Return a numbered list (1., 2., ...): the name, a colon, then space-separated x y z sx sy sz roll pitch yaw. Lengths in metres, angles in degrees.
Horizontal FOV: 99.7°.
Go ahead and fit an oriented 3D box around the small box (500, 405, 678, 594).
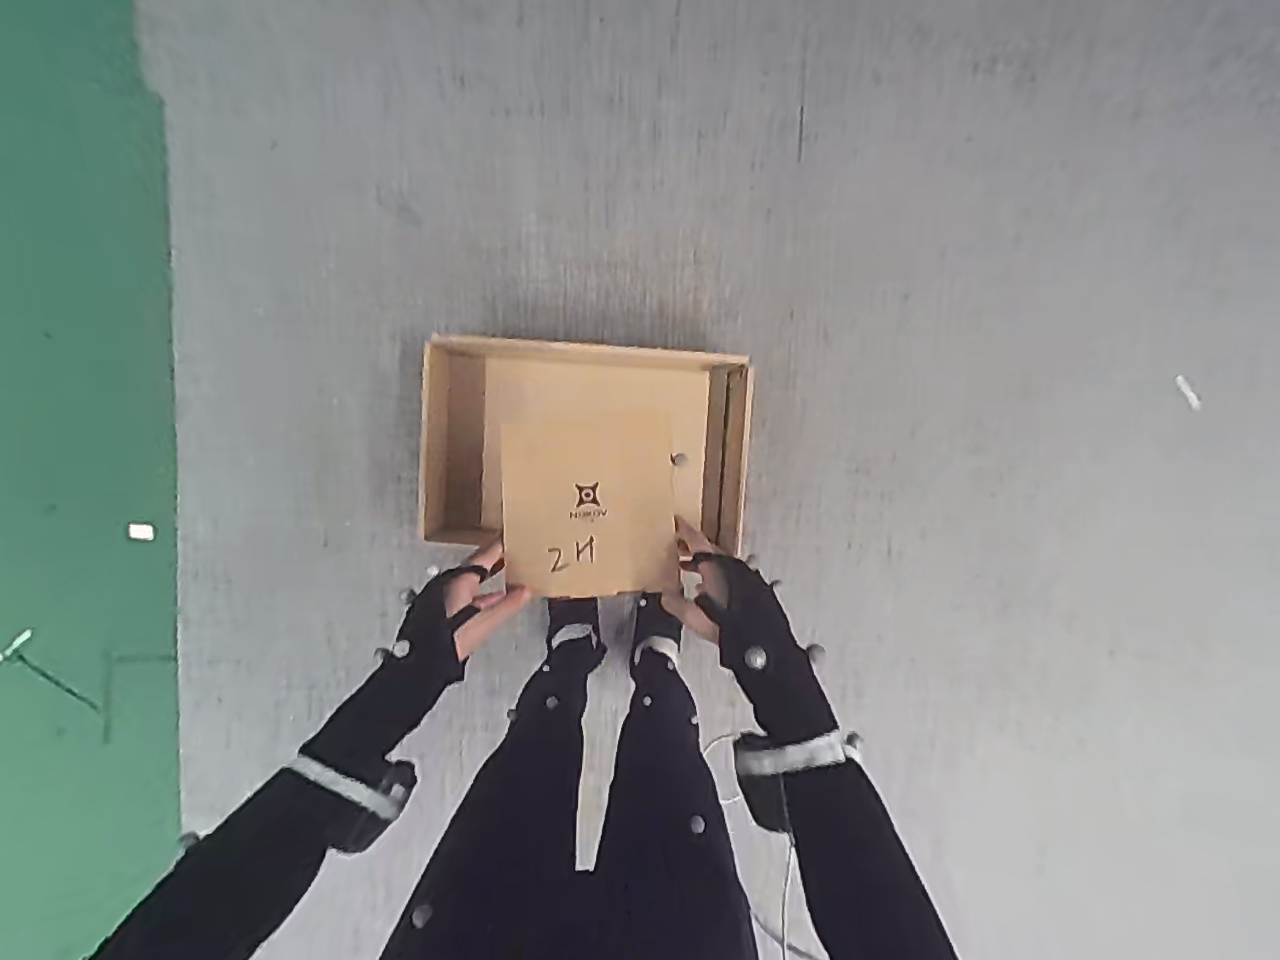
1. small box: -0.046 0.032 0.590 0.168 0.176 0.179 -4 80 5
